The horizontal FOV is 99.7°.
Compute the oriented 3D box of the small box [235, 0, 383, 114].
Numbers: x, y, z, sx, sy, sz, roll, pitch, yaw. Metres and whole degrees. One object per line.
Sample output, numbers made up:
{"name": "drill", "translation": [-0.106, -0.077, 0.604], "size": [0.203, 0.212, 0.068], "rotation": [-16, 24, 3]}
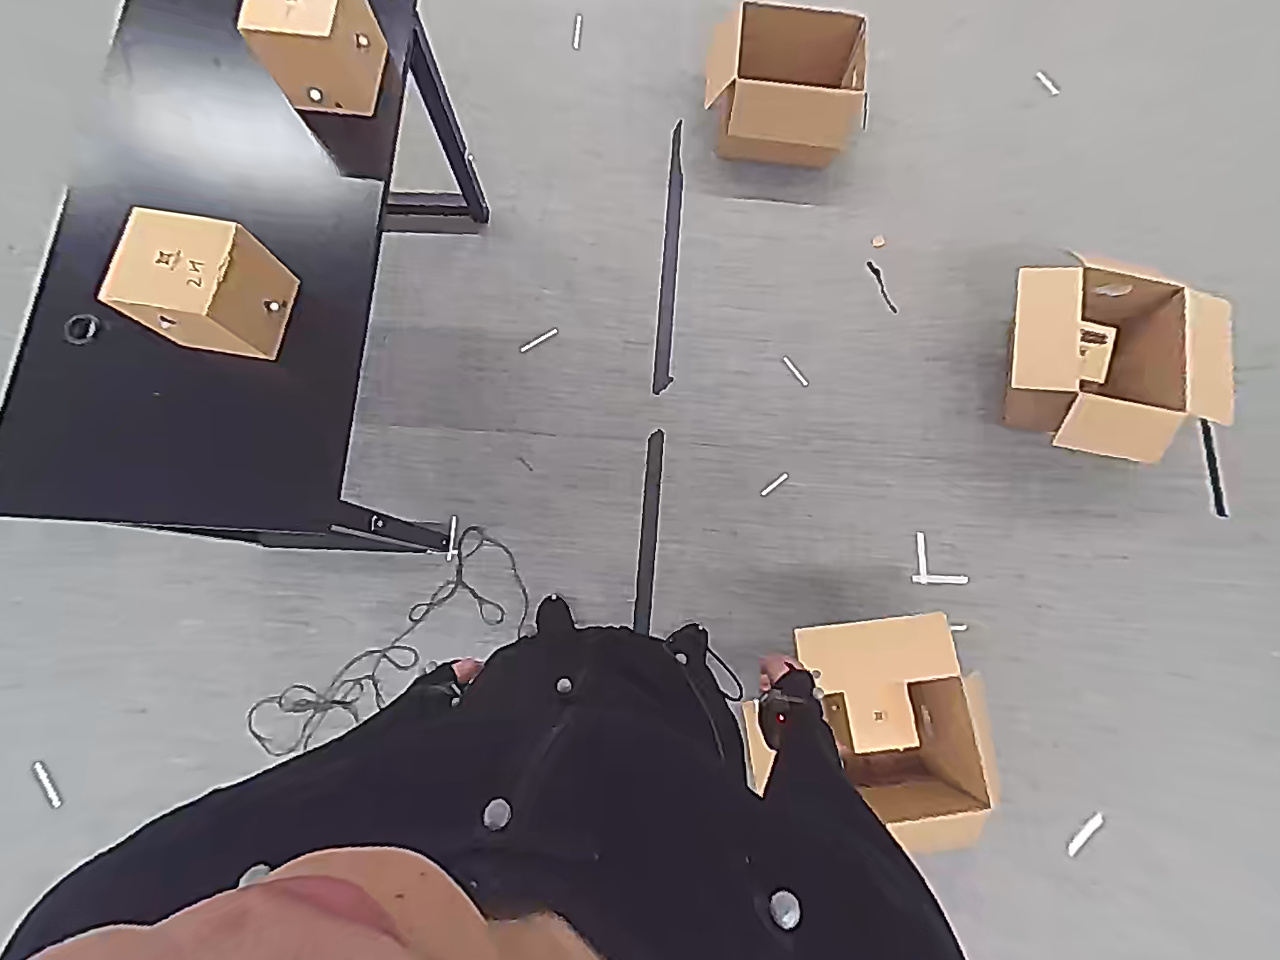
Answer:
{"name": "small box", "translation": [-0.614, -0.848, 1.030], "size": [0.168, 0.176, 0.179], "rotation": [5, 80, 1]}

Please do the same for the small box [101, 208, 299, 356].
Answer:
{"name": "small box", "translation": [-0.736, -0.328, 0.926], "size": [0.179, 0.176, 0.168], "rotation": [9, 79, 0]}
